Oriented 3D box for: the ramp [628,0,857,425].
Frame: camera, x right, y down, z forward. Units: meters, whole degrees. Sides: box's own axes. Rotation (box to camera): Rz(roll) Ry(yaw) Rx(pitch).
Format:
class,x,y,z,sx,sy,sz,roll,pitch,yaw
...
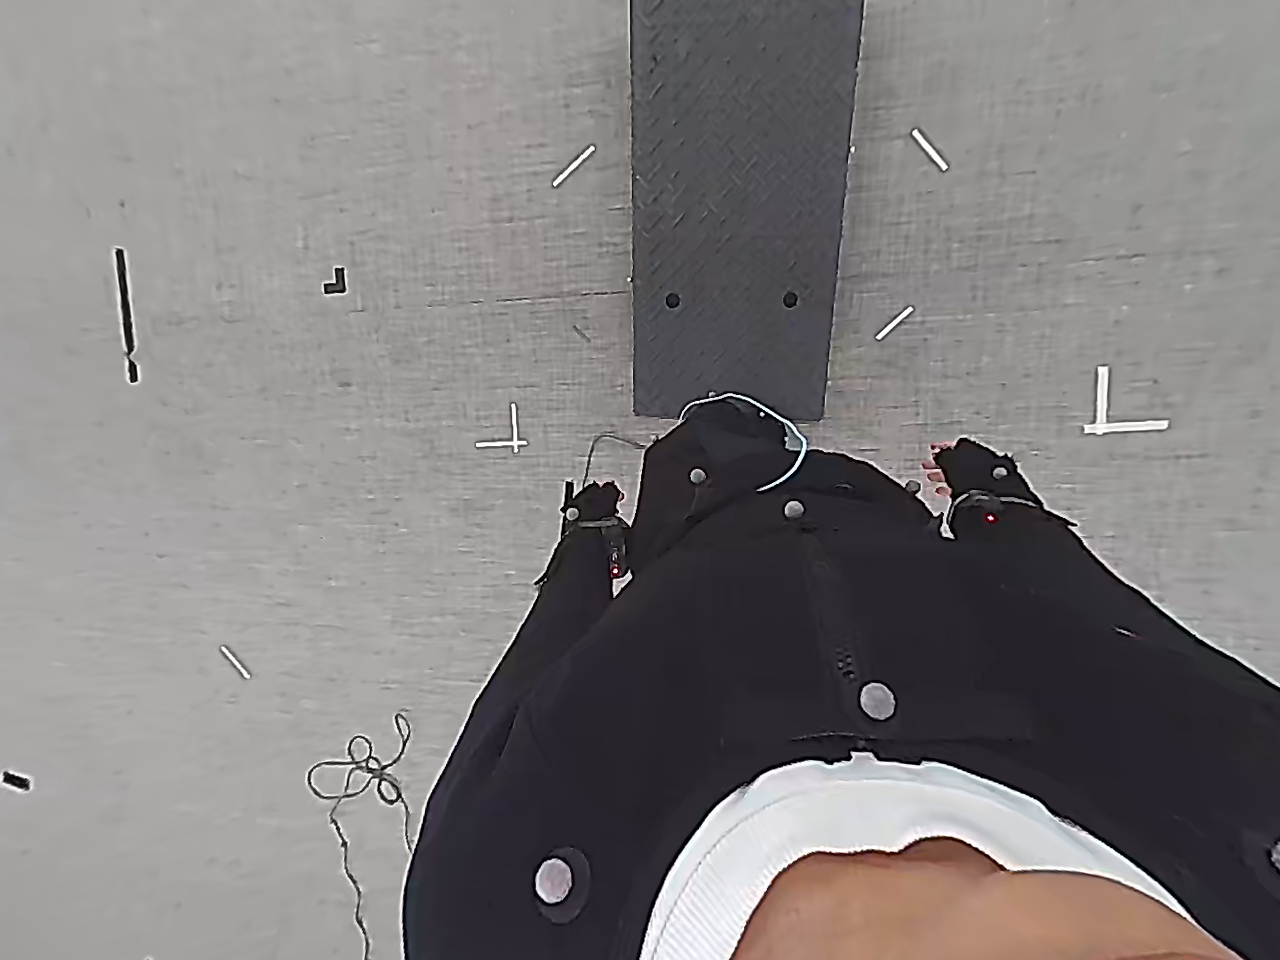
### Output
class,x,y,z,sx,sy,sz,roll,pitch,yaw
ramp,0.230,-0.623,1.287,0.509,0.206,0.991,-1,97,9
